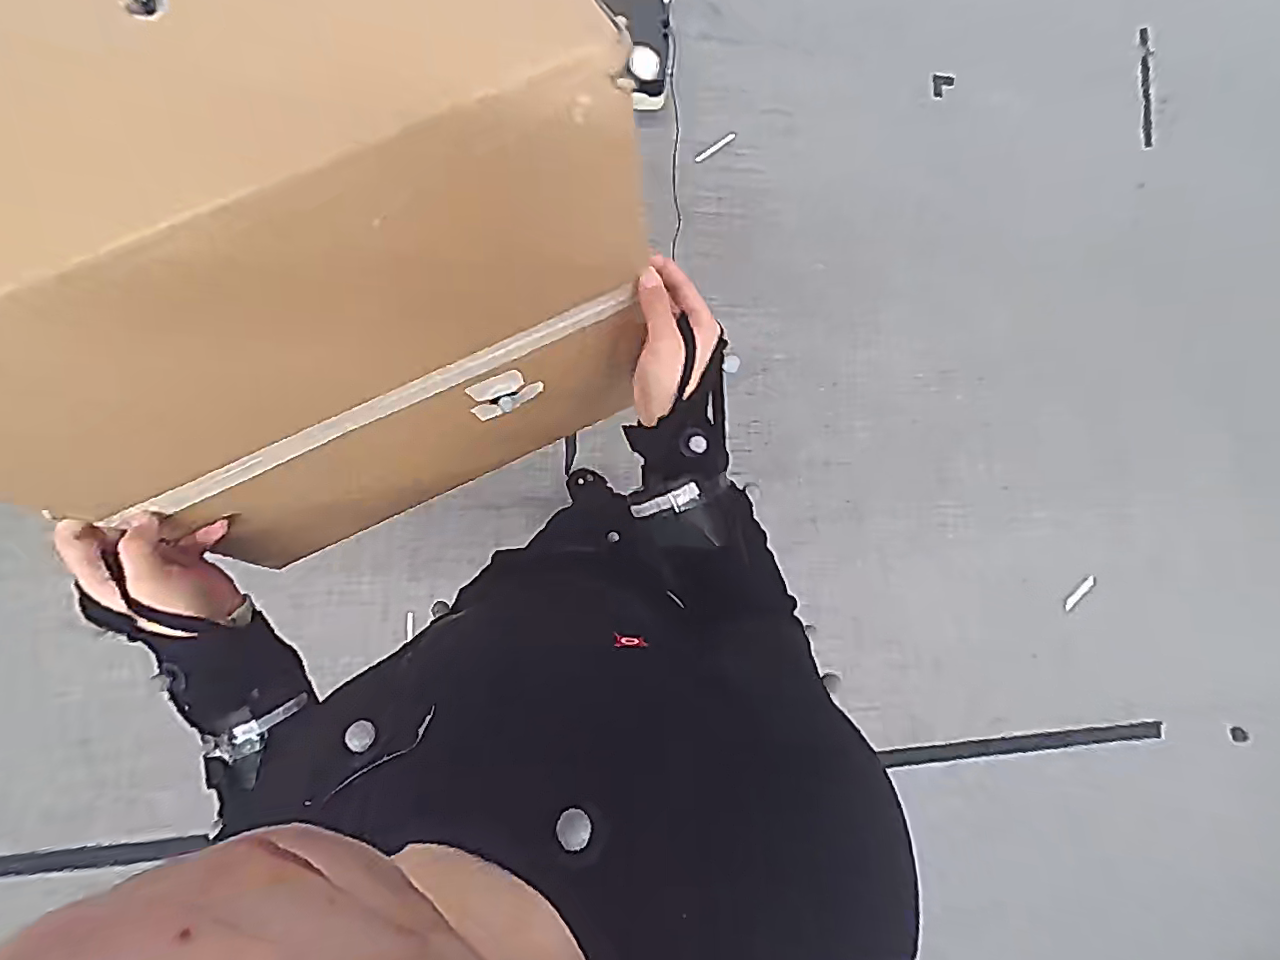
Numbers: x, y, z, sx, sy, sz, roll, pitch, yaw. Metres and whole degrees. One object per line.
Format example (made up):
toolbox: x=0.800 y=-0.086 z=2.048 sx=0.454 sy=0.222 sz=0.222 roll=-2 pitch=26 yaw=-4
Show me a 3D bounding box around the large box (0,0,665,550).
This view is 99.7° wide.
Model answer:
large box: x=-0.232 y=-0.195 z=0.435 sx=0.408 sy=0.320 sz=0.320 roll=-25 pitch=70 yaw=-4
